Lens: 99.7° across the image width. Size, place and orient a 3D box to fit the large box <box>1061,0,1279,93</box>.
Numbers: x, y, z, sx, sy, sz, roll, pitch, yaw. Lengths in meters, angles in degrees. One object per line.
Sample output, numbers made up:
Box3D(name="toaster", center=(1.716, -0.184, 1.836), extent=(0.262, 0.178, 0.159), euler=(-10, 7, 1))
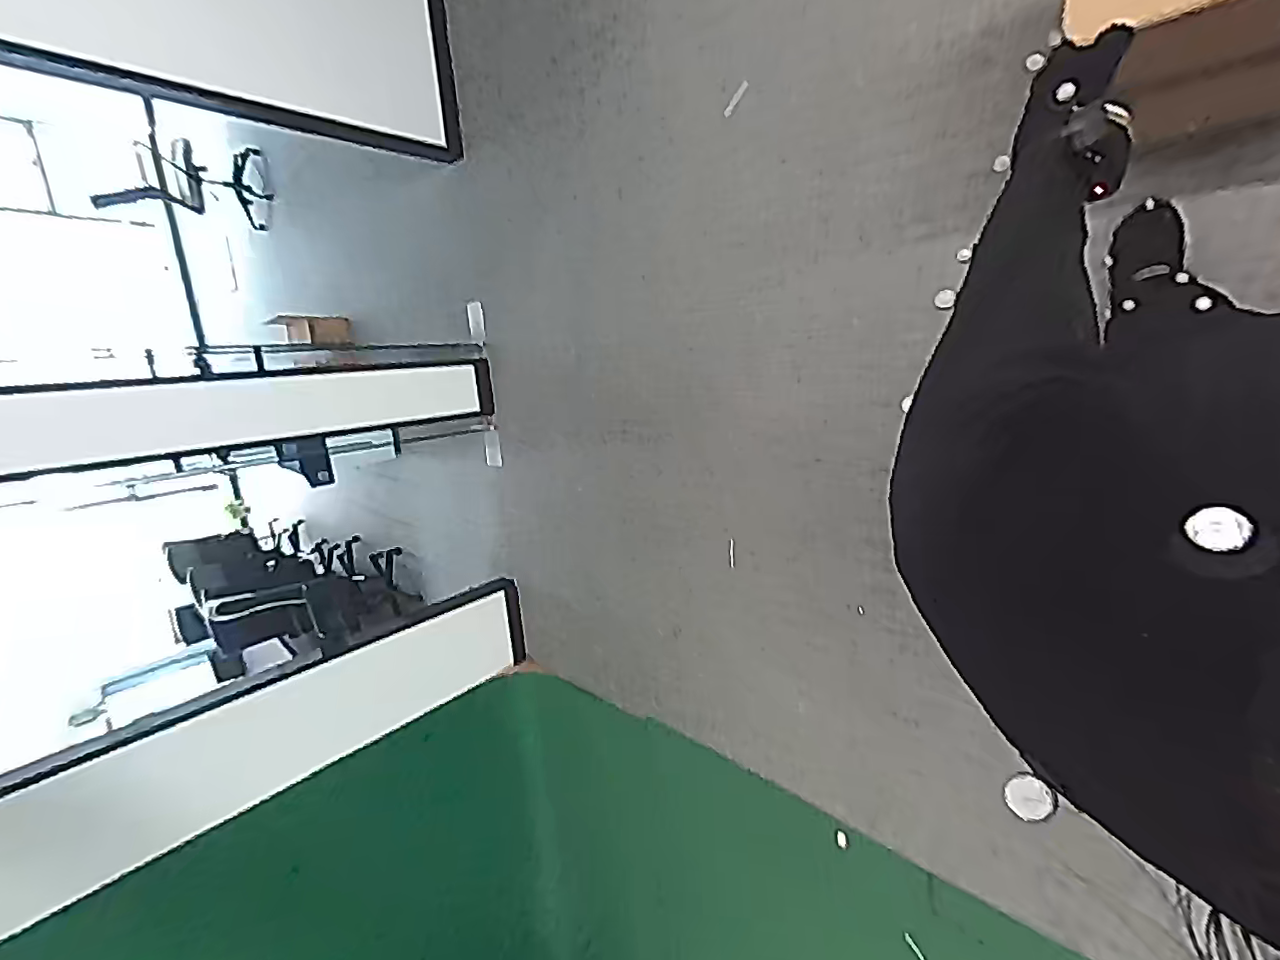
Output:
Box3D(name="large box", center=(0.738, -0.687, 0.579), extent=(0.408, 0.320, 0.320), euler=(9, 113, 43))
